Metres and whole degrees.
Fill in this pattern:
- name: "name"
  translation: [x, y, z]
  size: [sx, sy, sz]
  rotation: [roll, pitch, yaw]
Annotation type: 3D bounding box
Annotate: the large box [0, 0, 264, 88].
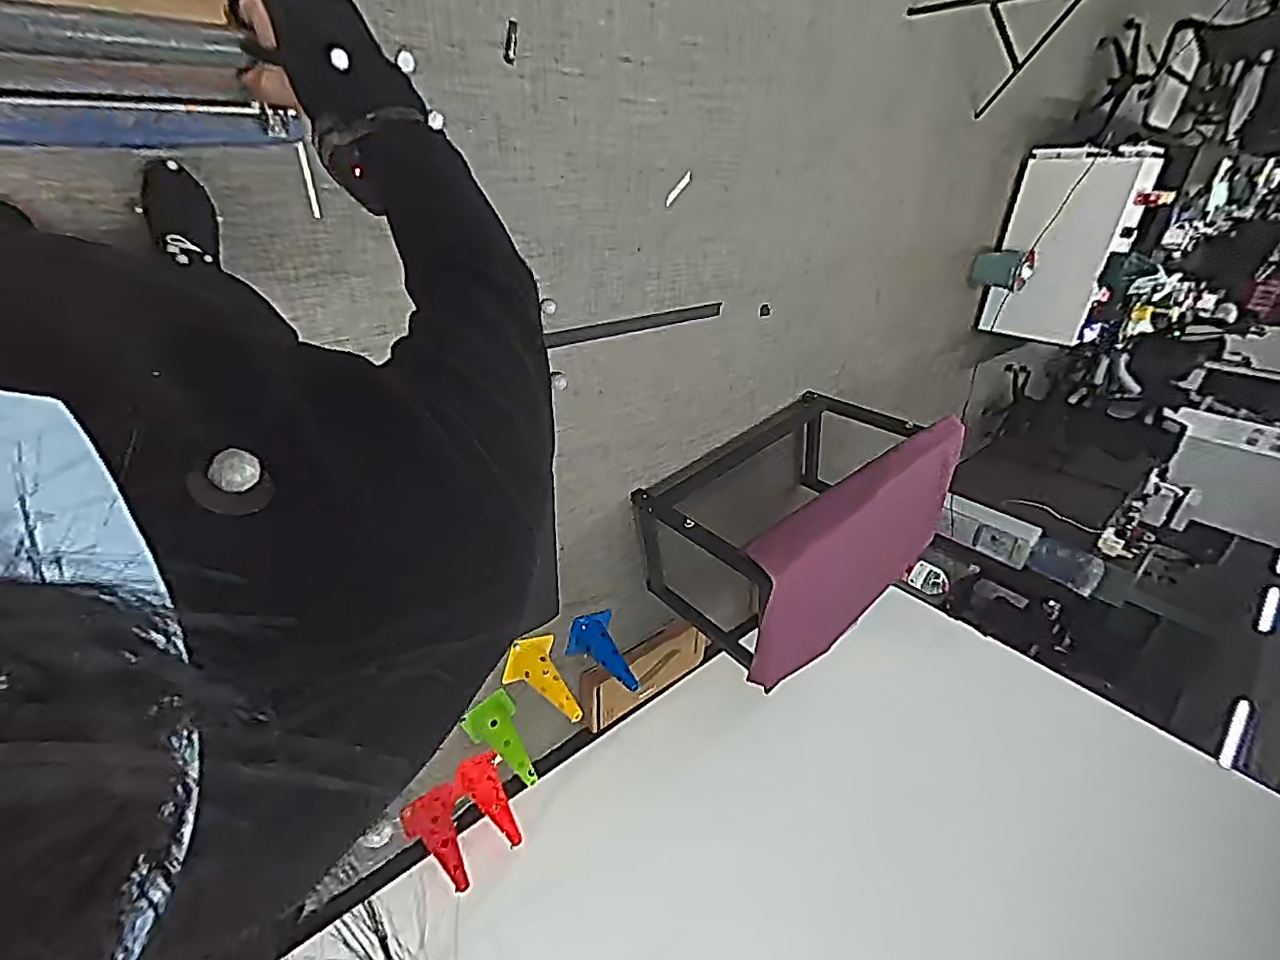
- name: "large box"
  translation: [-0.738, -0.667, 0.621]
  size: [0.408, 0.320, 0.320]
  rotation: [-23, 126, -34]
